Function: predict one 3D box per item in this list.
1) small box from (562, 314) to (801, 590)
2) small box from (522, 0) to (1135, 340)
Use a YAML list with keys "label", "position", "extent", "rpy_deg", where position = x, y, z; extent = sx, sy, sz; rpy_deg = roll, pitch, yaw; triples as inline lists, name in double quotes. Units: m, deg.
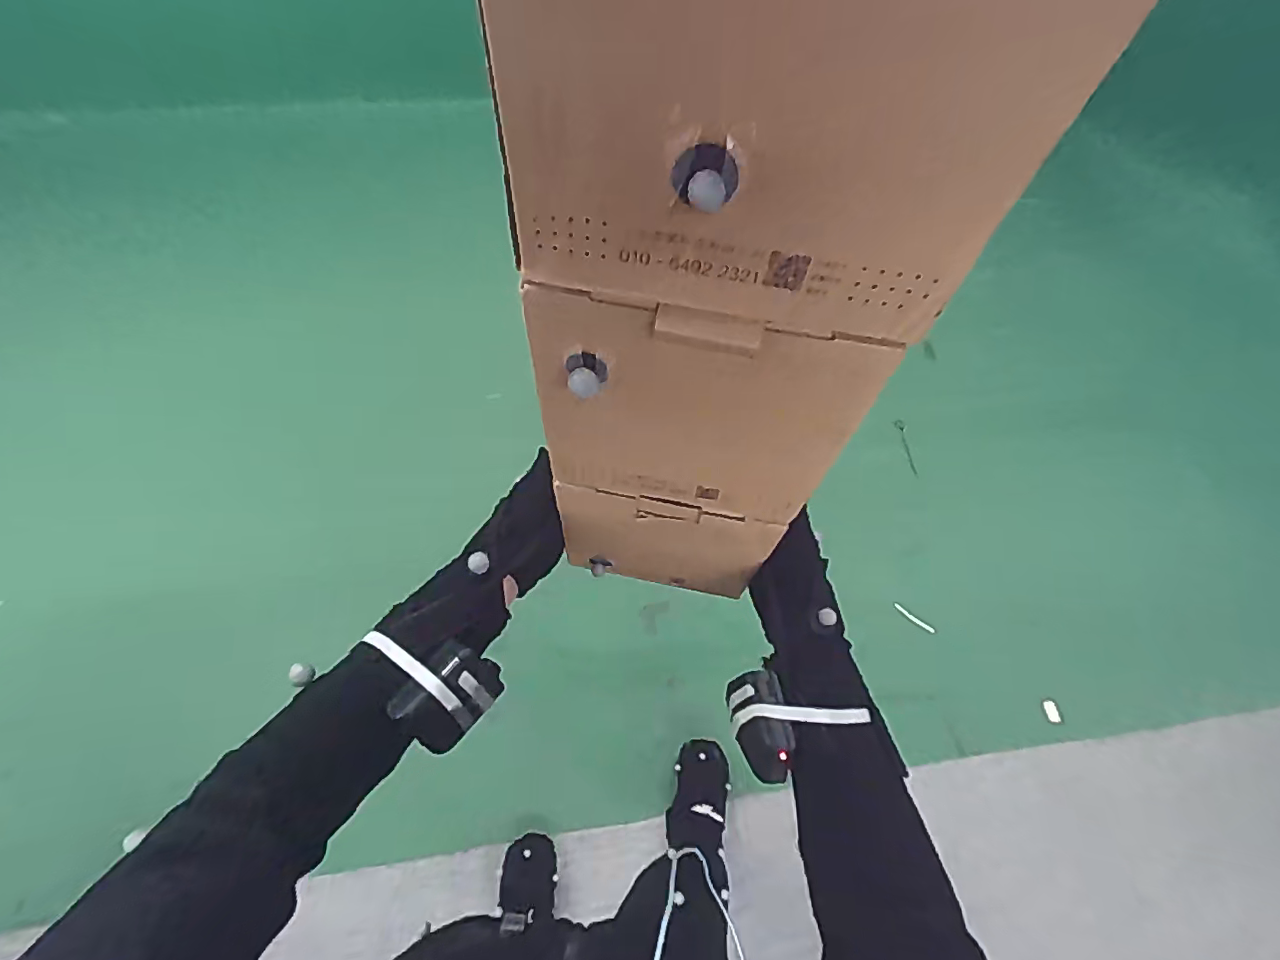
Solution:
- label: "small box"
  position: [0.037, -0.016, 0.488]
  extent: [0.168, 0.176, 0.179]
  rpy_deg: [11, 60, 3]
- label: "small box"
  position: [0.052, -0.185, 0.208]
  extent: [0.168, 0.176, 0.179]
  rpy_deg: [9, 60, 1]
